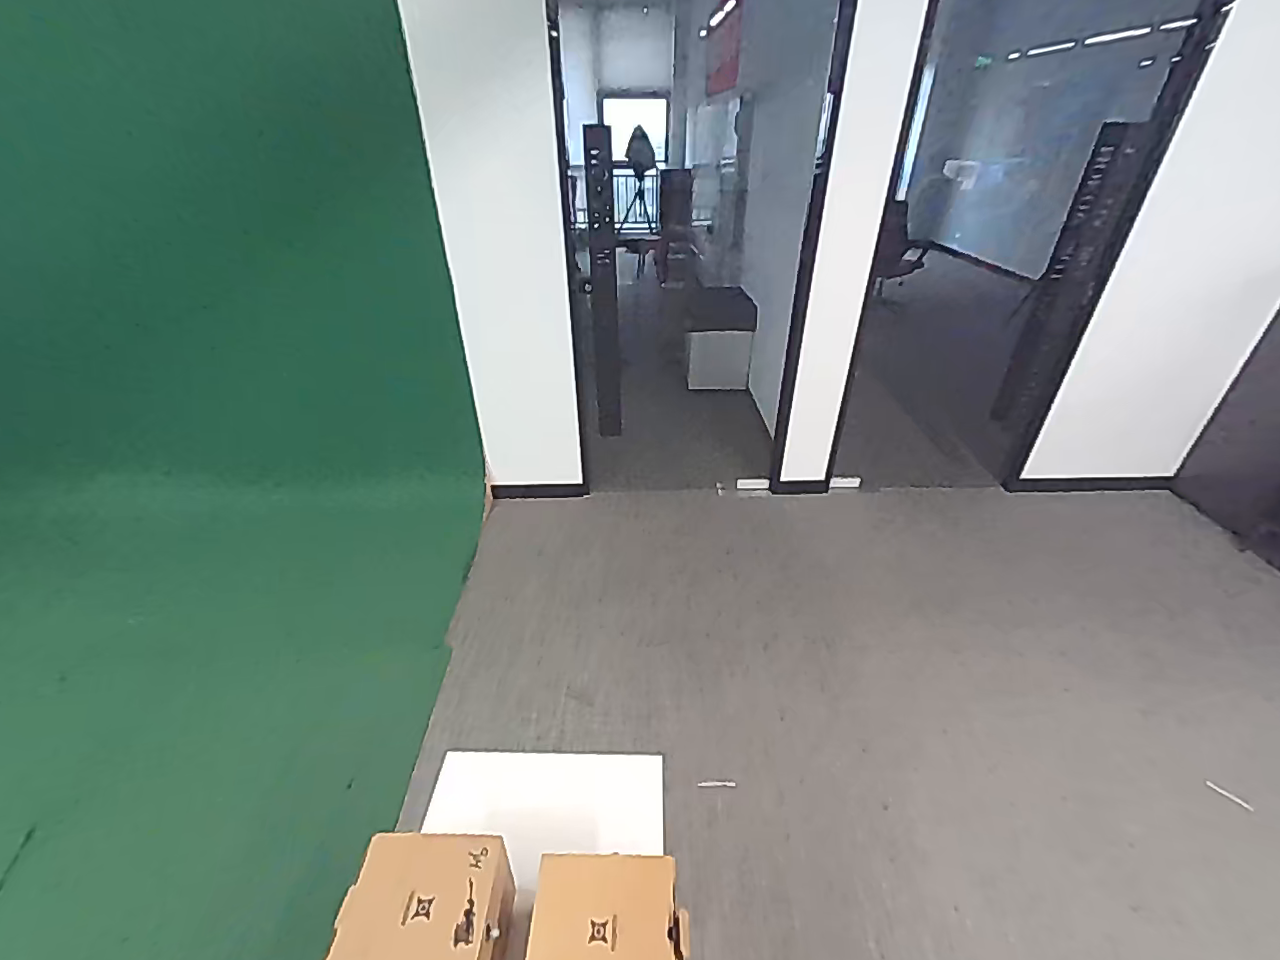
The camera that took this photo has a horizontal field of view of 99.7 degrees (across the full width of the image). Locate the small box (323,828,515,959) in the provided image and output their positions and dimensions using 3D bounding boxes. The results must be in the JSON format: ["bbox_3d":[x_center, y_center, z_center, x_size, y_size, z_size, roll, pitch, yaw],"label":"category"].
[{"bbox_3d":[-0.273,0.582,0.704,0.179,0.176,0.168,0,34,0],"label":"small box"}]
